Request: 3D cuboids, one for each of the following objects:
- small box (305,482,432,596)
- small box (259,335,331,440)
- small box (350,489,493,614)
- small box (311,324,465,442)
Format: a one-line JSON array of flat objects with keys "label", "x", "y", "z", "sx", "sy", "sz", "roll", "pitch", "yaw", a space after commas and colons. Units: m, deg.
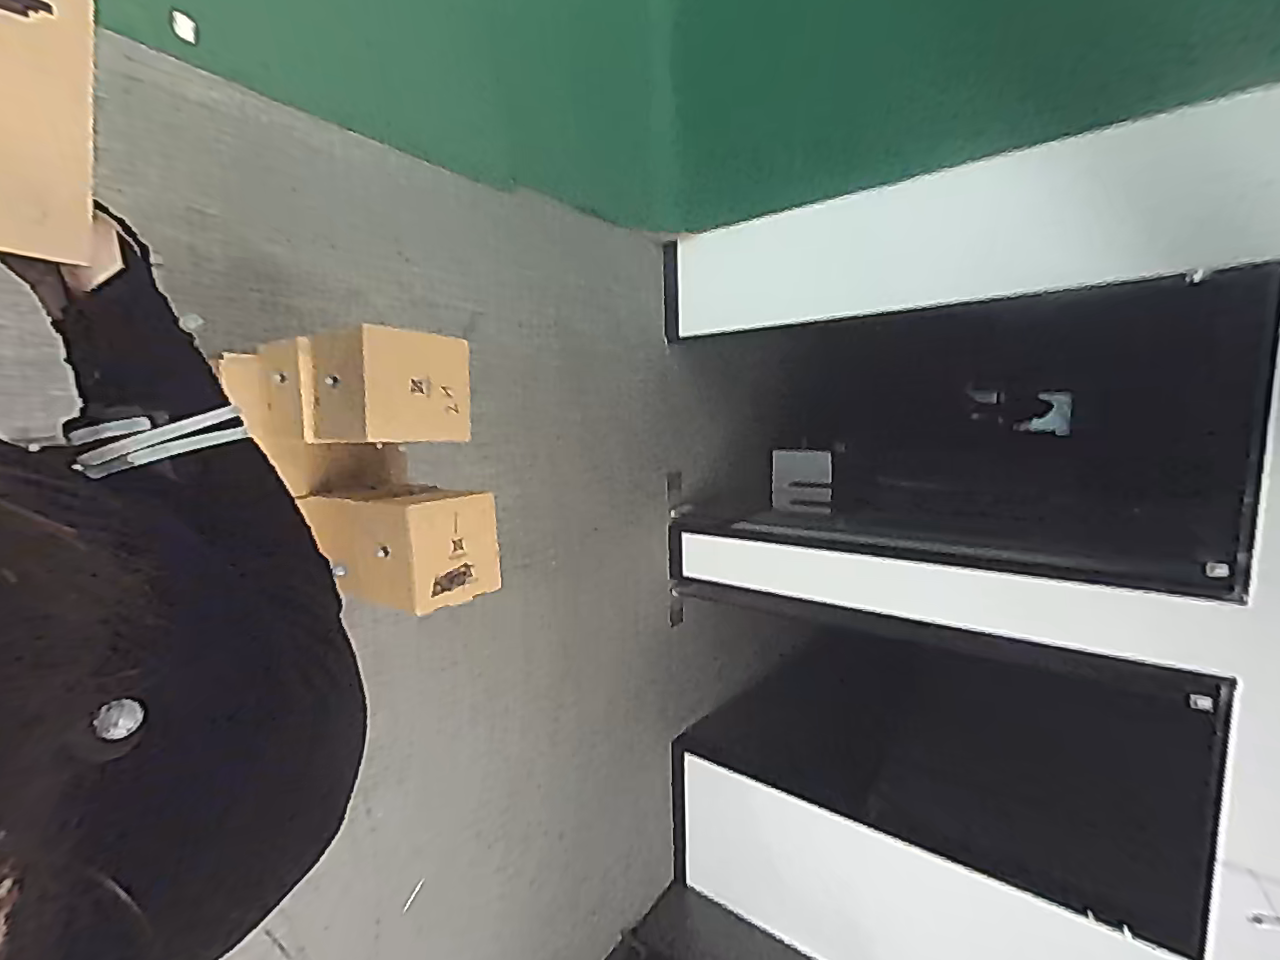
[{"label": "small box", "x": -0.510, "y": 0.102, "z": 1.031, "sx": 0.168, "sy": 0.176, "sz": 0.179, "roll": -12, "pitch": 102, "yaw": -54}, {"label": "small box", "x": -0.546, "y": -0.154, "z": 0.954, "sx": 0.179, "sy": 0.176, "sz": 0.168, "roll": -8, "pitch": 101, "yaw": -54}, {"label": "small box", "x": -0.377, "y": 0.112, "z": 0.936, "sx": 0.168, "sy": 0.176, "sz": 0.179, "roll": -9, "pitch": 99, "yaw": -54}, {"label": "small box", "x": -0.405, "y": -0.145, "z": 0.869, "sx": 0.179, "sy": 0.176, "sz": 0.168, "roll": -5, "pitch": 99, "yaw": -54}]
